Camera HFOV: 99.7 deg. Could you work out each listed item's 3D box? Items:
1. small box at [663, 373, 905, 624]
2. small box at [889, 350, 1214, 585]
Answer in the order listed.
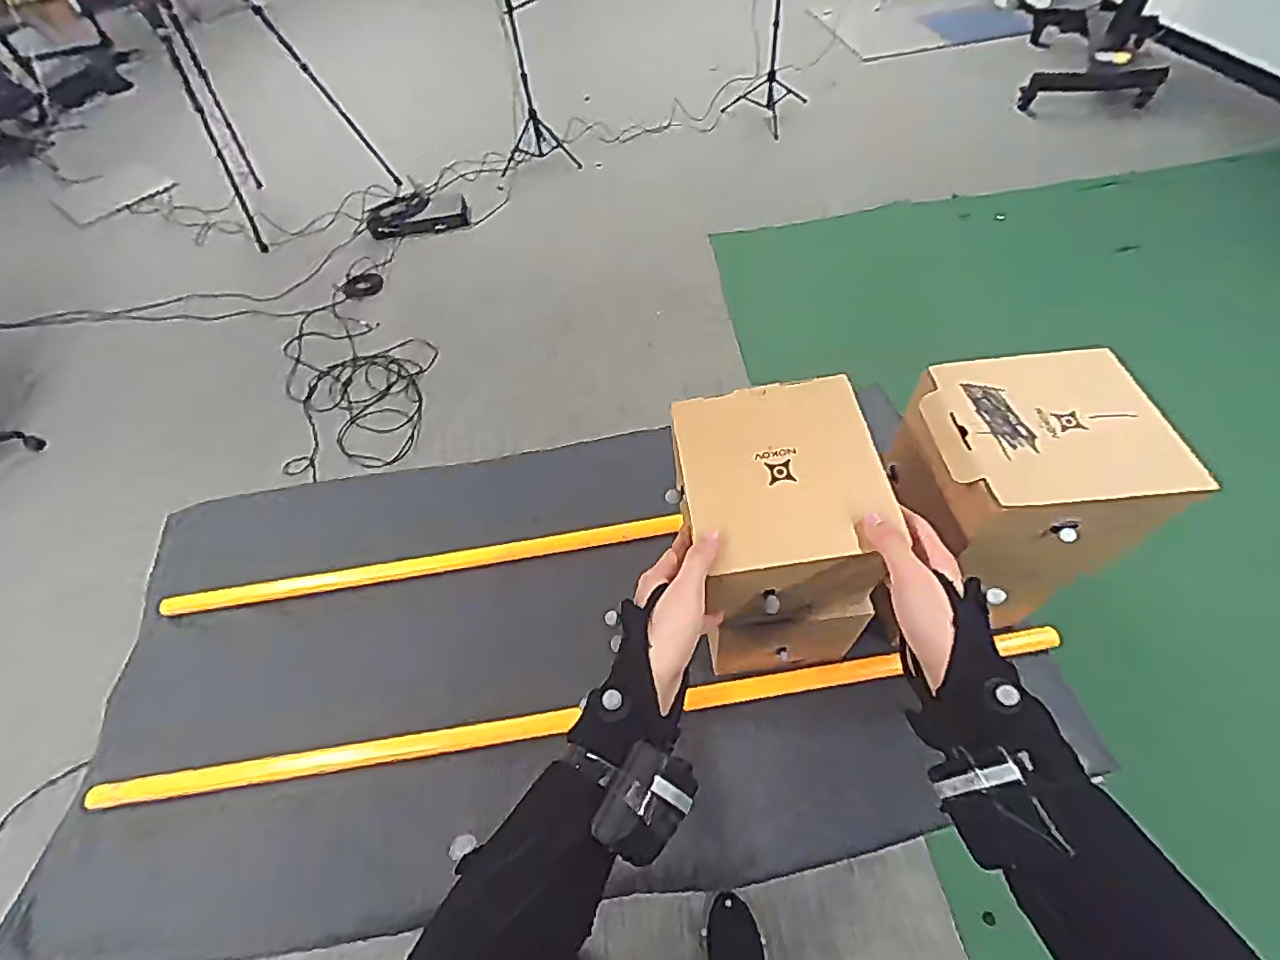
[{"bbox_3d":[0.122,0.030,0.519,0.168,0.176,0.179,-10,60,3],"label":"small box"},{"bbox_3d":[0.370,-0.004,0.538,0.179,0.176,0.168,-5,56,1],"label":"small box"}]
